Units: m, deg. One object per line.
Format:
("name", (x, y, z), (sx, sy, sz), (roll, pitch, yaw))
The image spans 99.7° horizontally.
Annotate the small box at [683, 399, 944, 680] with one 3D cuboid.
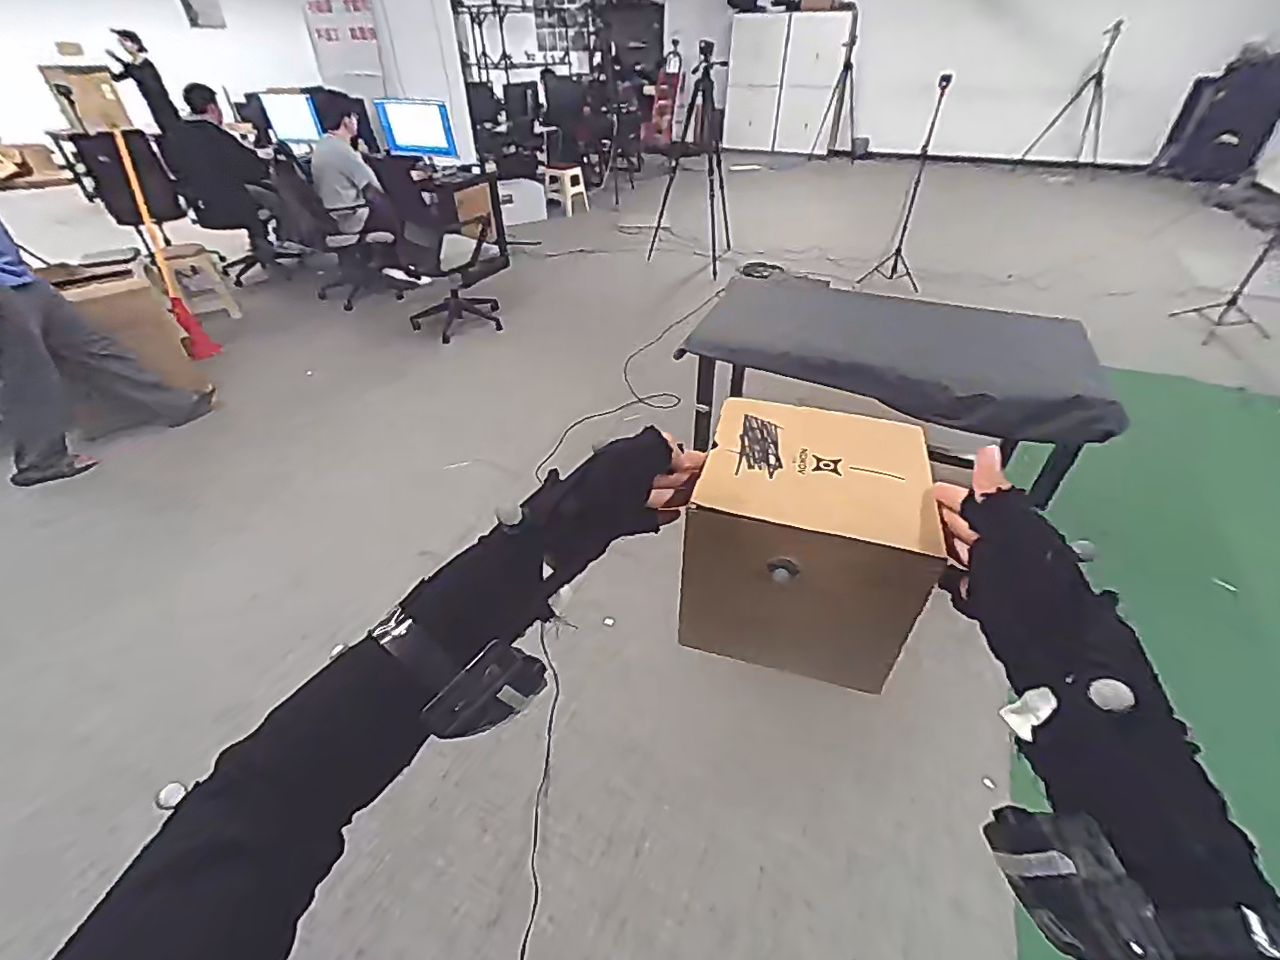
("small box", (0.140, 0.050, 0.481), (0.179, 0.176, 0.168), (11, 40, 13))
